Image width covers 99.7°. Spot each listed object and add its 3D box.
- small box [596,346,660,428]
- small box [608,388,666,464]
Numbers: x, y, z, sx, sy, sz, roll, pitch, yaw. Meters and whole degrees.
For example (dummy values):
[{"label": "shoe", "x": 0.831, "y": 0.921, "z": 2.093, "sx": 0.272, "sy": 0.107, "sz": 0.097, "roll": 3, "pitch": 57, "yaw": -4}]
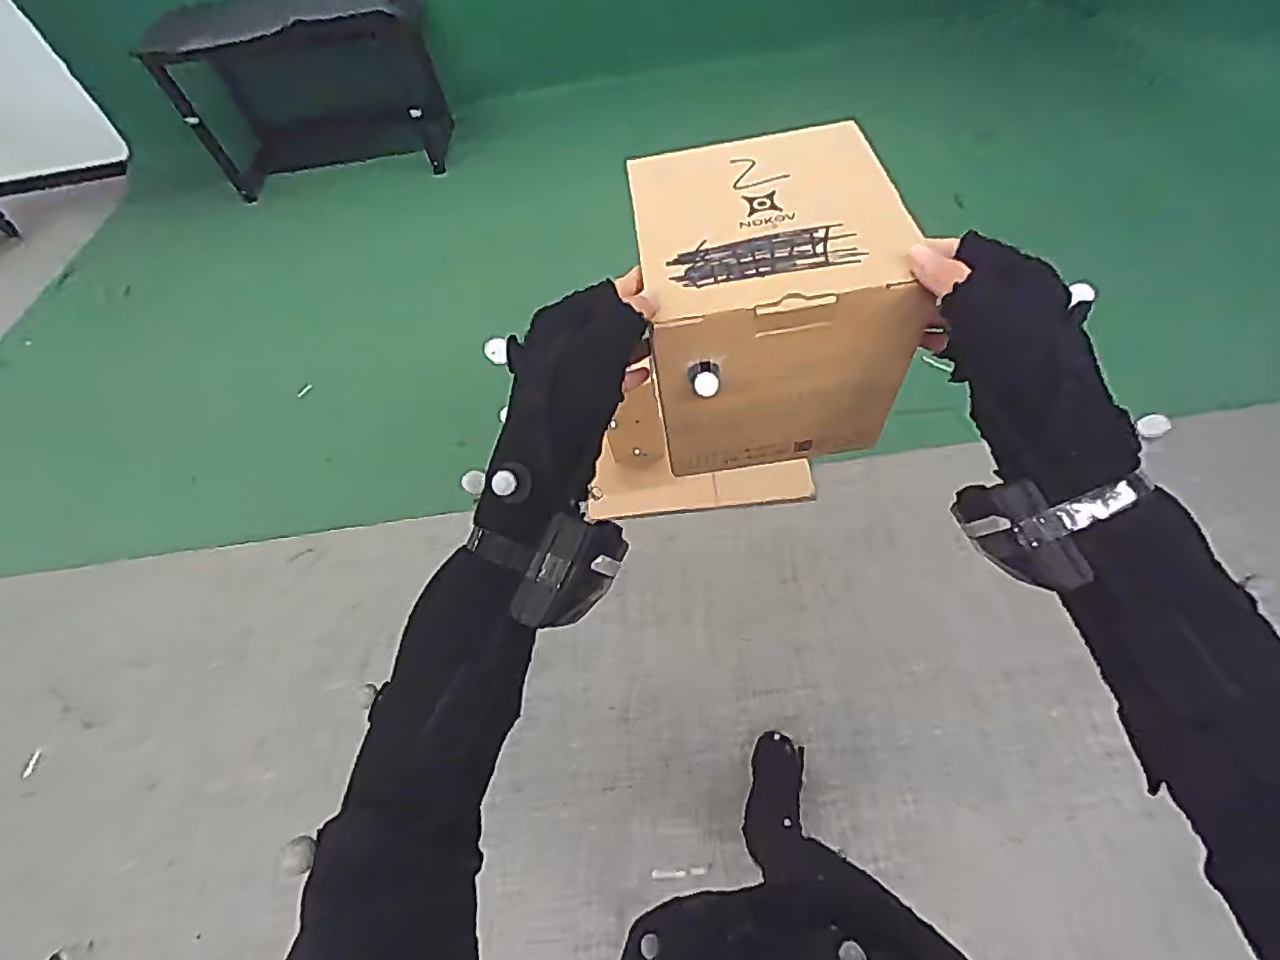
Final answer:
[{"label": "small box", "x": -0.034, "y": -0.270, "z": 1.617, "sx": 0.168, "sy": 0.176, "sz": 0.179, "roll": -6, "pitch": 54, "yaw": 5}, {"label": "small box", "x": -0.010, "y": -0.176, "z": 1.750, "sx": 0.168, "sy": 0.176, "sz": 0.179, "roll": -8, "pitch": 55, "yaw": 5}]
